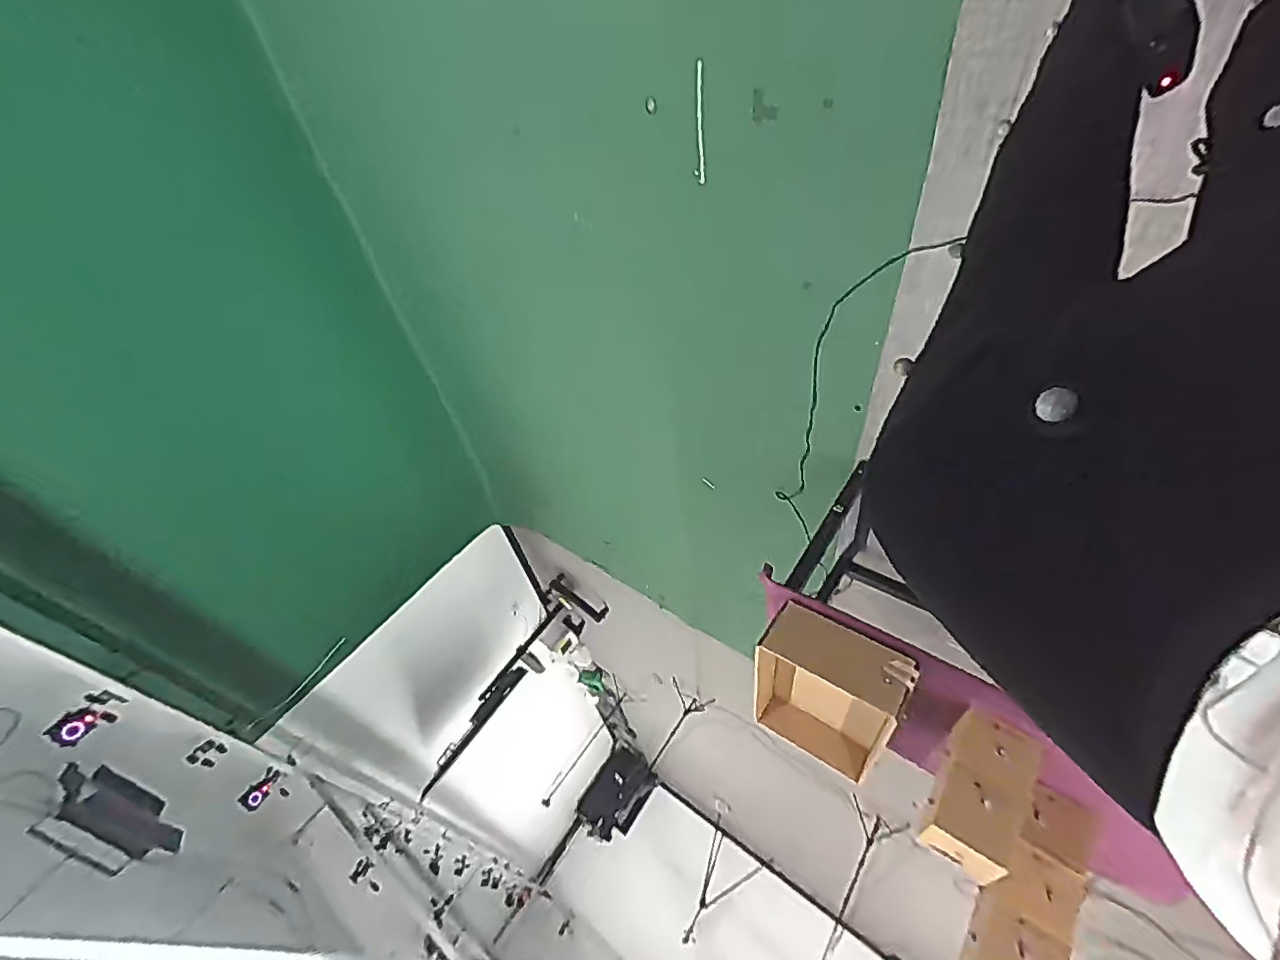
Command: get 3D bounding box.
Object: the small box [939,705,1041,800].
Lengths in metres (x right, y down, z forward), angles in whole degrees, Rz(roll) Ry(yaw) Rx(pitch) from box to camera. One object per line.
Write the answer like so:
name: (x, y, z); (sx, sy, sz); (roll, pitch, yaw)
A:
small box: (0.923, 0.727, 1.424); (0.168, 0.176, 0.179); (25, 147, 29)

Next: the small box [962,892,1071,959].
small box: (0.926, 1.159, 1.332); (0.168, 0.176, 0.179); (24, 146, 31)

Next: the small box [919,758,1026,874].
small box: (0.826, 0.833, 1.346); (0.168, 0.176, 0.179); (24, 146, 28)

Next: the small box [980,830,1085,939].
small box: (1.023, 1.050, 1.408); (0.168, 0.176, 0.179); (24, 147, 30)

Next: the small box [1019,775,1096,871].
small box: (1.118, 0.948, 1.490); (0.168, 0.176, 0.179); (25, 147, 30)
